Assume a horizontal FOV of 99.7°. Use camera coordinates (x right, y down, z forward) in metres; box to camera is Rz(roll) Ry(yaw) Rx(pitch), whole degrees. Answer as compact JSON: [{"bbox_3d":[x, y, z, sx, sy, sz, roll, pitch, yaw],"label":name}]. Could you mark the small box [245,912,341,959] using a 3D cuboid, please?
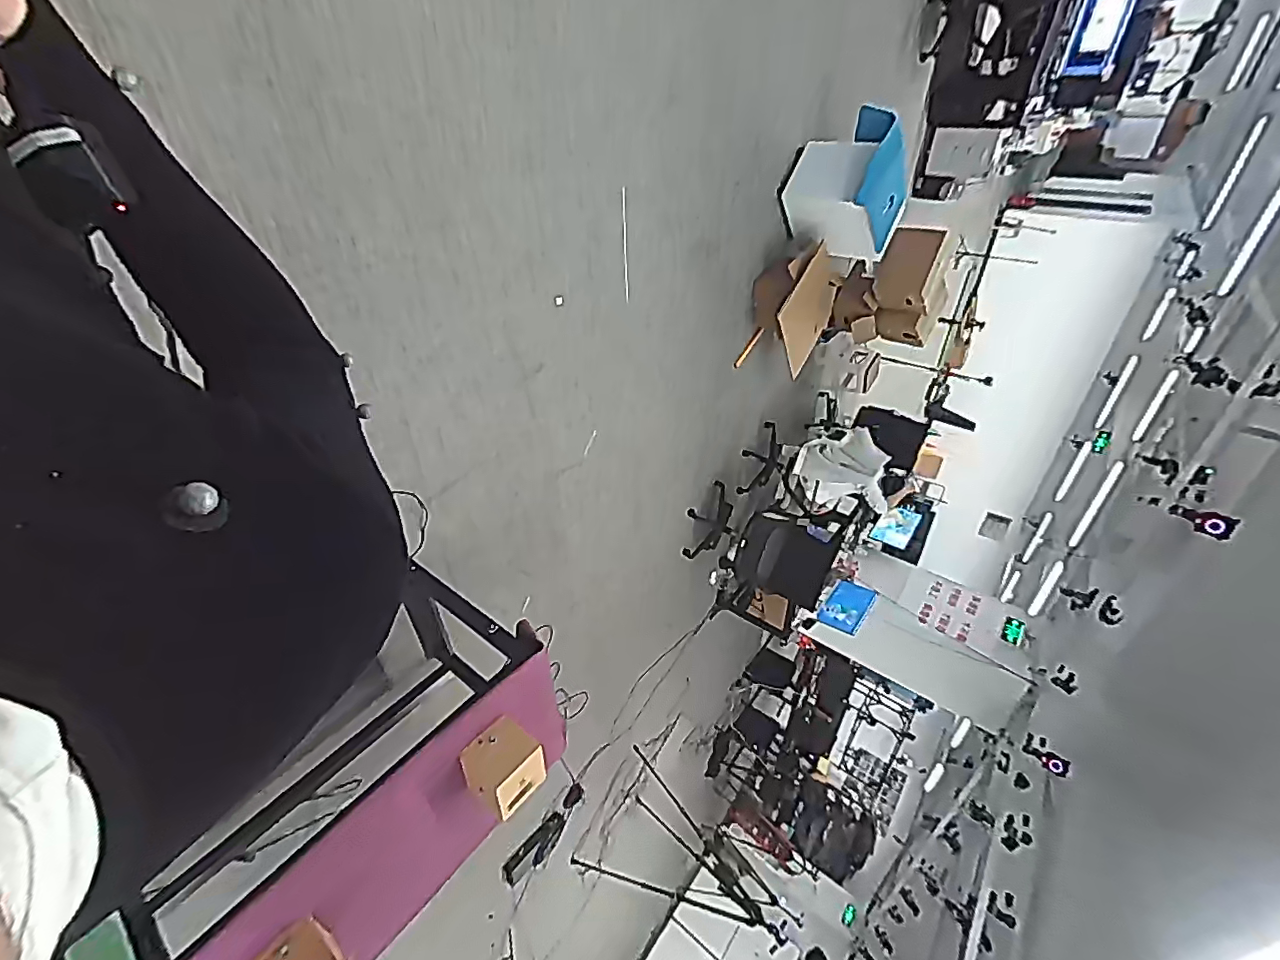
[{"bbox_3d":[-0.781,1.135,1.221,0.168,0.176,0.179,-36,139,-42],"label":"small box"}]
